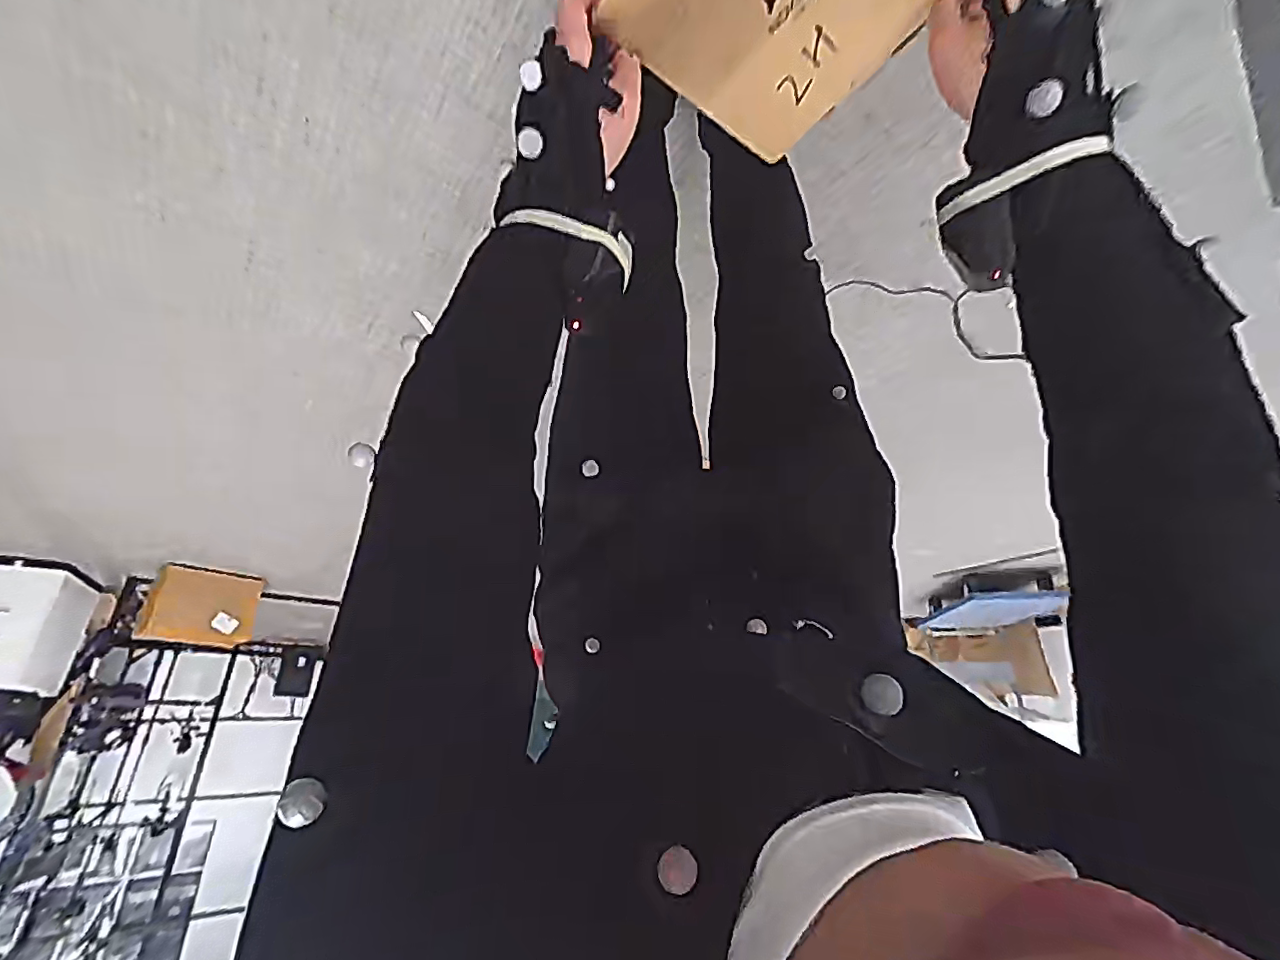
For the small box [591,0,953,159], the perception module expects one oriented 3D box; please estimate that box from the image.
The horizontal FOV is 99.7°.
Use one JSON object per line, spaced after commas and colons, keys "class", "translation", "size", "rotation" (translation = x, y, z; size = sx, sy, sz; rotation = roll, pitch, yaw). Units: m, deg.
{"class": "small box", "translation": [0.088, -0.367, 0.346], "size": [0.179, 0.176, 0.168], "rotation": [16, 156, -33]}
